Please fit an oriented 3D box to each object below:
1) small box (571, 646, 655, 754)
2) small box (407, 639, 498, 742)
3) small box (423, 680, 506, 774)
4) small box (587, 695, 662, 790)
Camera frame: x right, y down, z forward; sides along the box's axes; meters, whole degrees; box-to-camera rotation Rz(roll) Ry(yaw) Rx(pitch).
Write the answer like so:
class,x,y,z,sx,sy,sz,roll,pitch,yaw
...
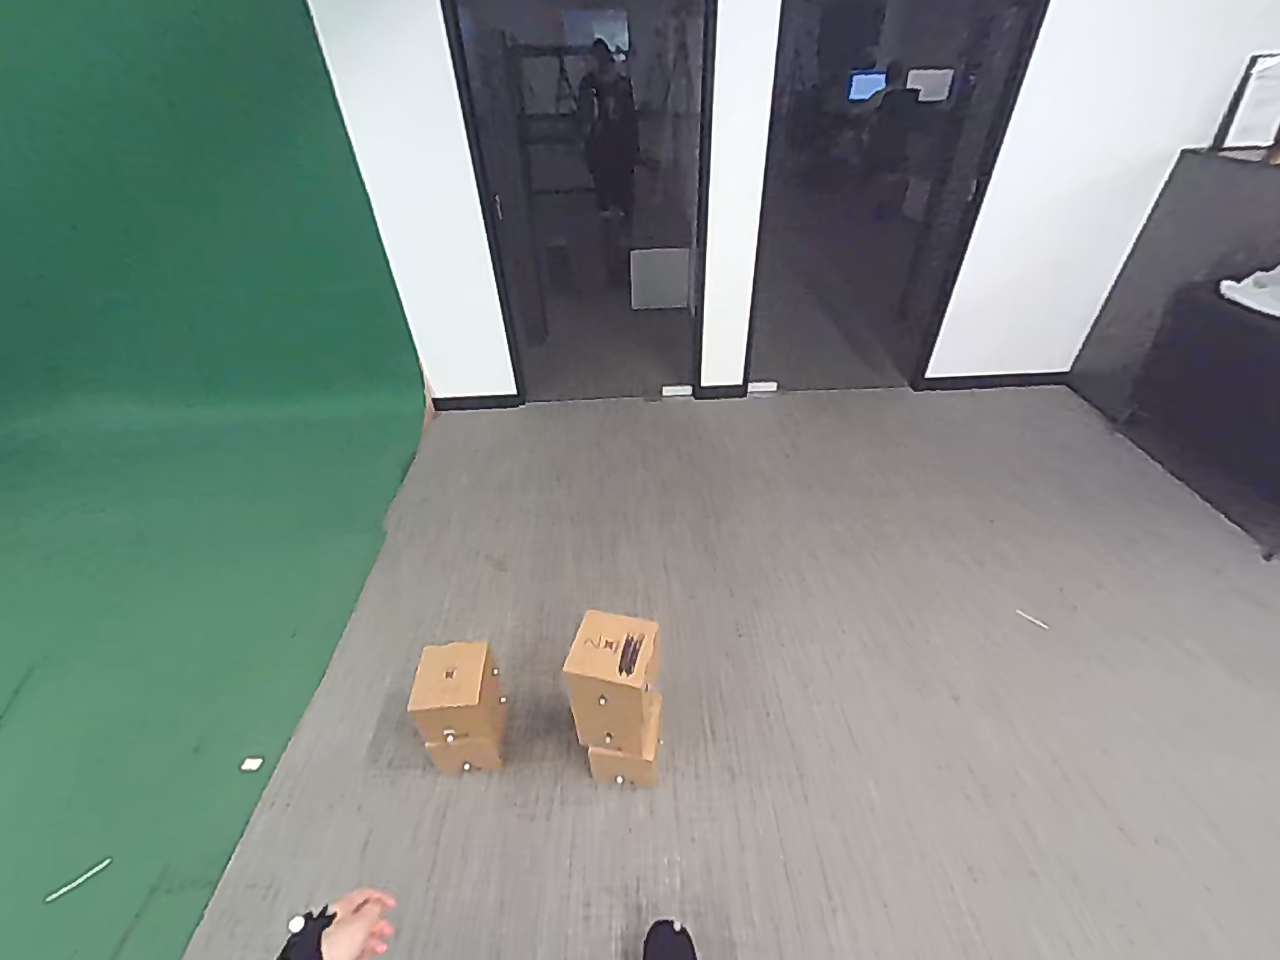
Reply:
class,x,y,z,sx,sy,sz,roll,pitch,yaw
small box,-0.058,0.543,1.328,0.168,0.176,0.179,7,40,11
small box,-0.460,0.528,1.359,0.168,0.176,0.179,-5,39,-2
small box,-0.462,0.659,1.455,0.168,0.176,0.179,-4,39,-3
small box,-0.036,0.677,1.420,0.168,0.176,0.179,4,39,8
